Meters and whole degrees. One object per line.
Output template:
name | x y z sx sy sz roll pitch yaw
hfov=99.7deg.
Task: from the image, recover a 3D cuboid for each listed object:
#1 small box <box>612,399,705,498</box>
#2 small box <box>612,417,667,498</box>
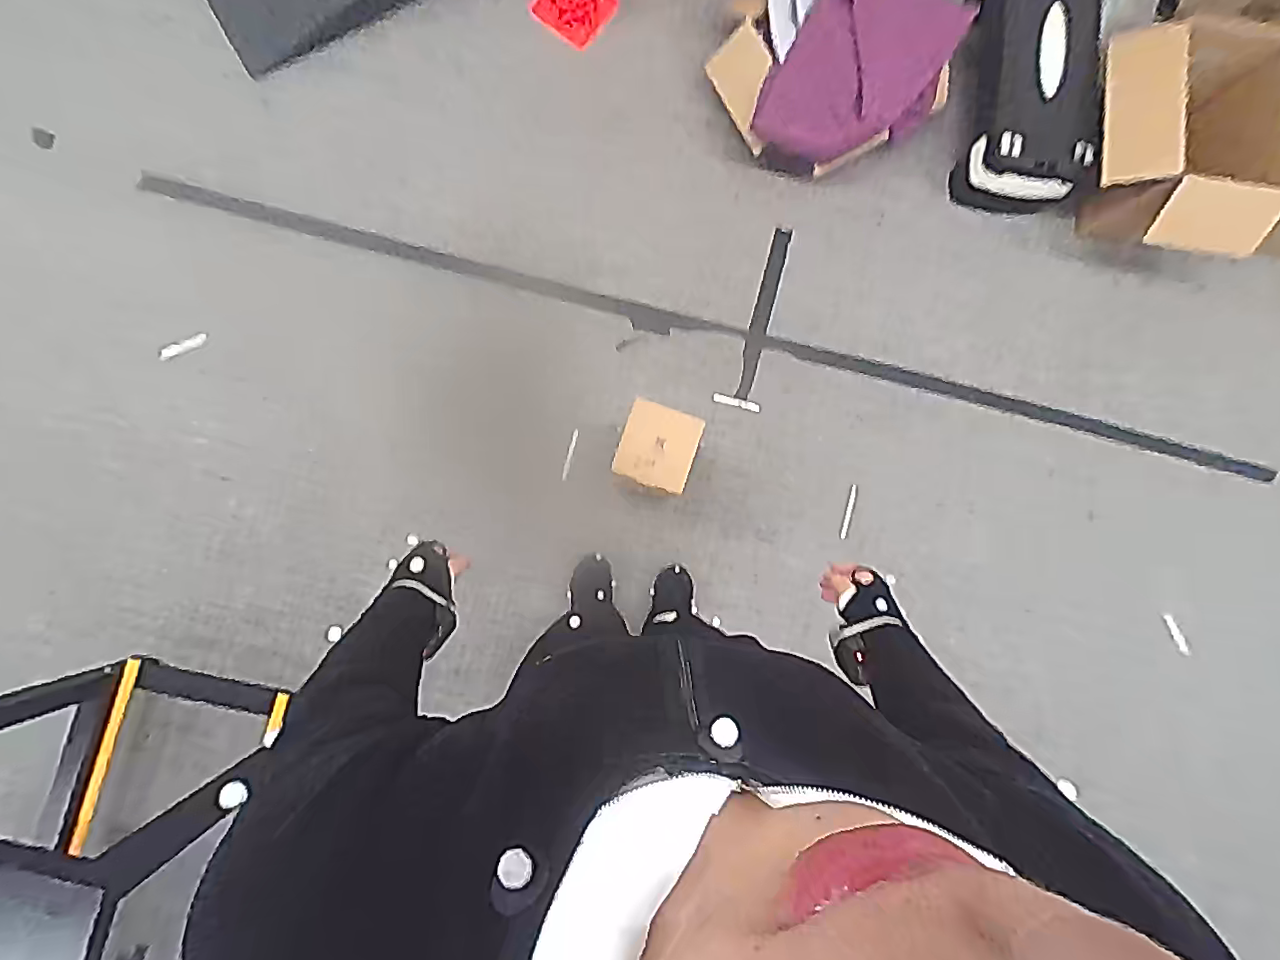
small box | 0.037 -0.066 1.265 0.168 0.176 0.179 19 86 -1
small box | 0.027 -0.052 1.430 0.168 0.176 0.179 14 86 -2
